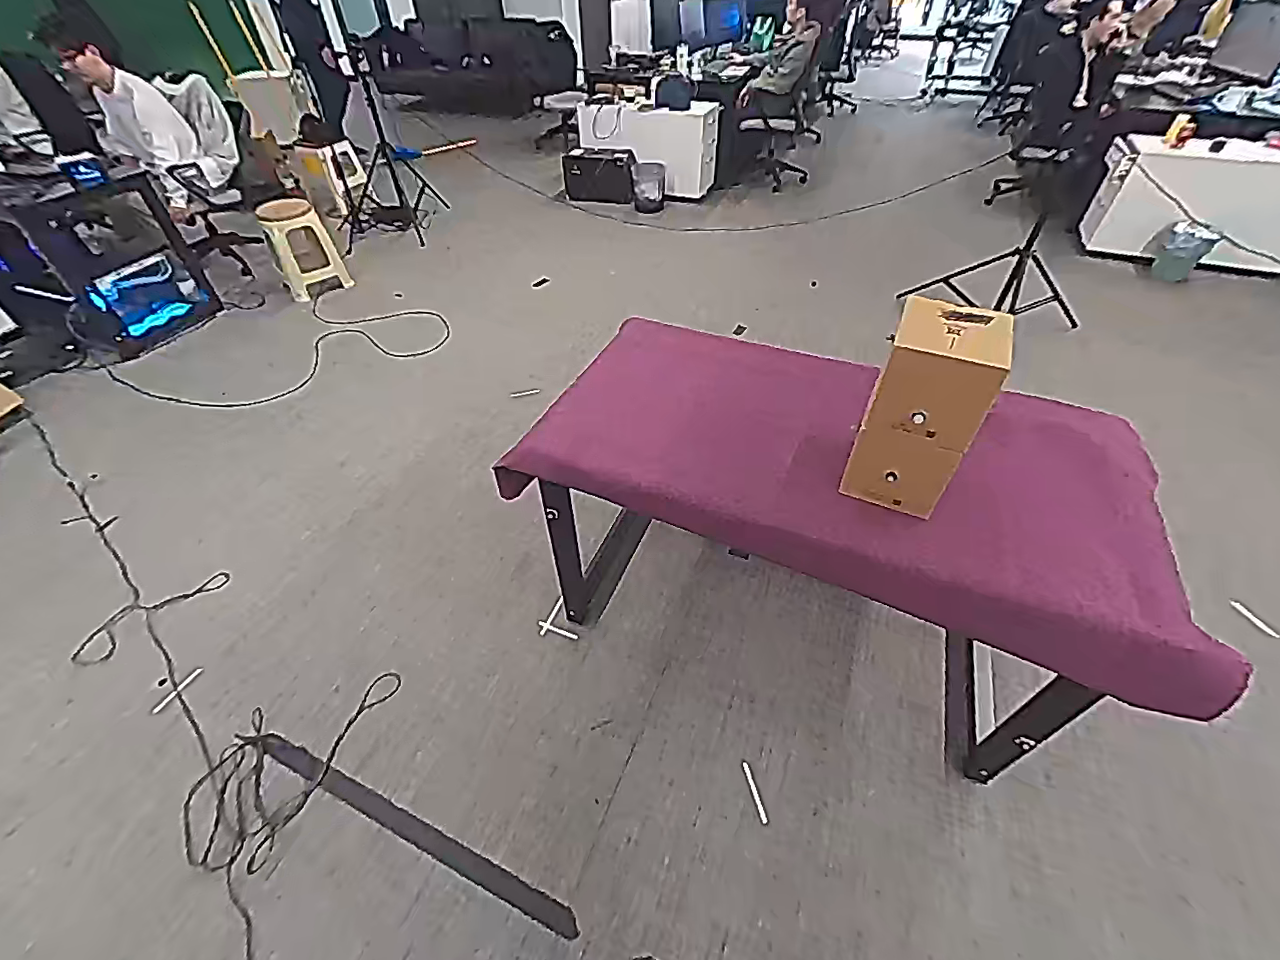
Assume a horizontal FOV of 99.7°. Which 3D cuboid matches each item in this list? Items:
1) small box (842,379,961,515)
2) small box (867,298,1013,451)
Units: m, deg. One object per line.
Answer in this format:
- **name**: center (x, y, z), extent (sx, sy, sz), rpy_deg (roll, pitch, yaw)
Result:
- **small box**: center (0.499, -0.062, 1.031), extent (0.168, 0.176, 0.179), rpy_deg (19, 48, 19)
- **small box**: center (0.501, -0.180, 0.916), extent (0.168, 0.176, 0.179), rpy_deg (19, 49, 19)
